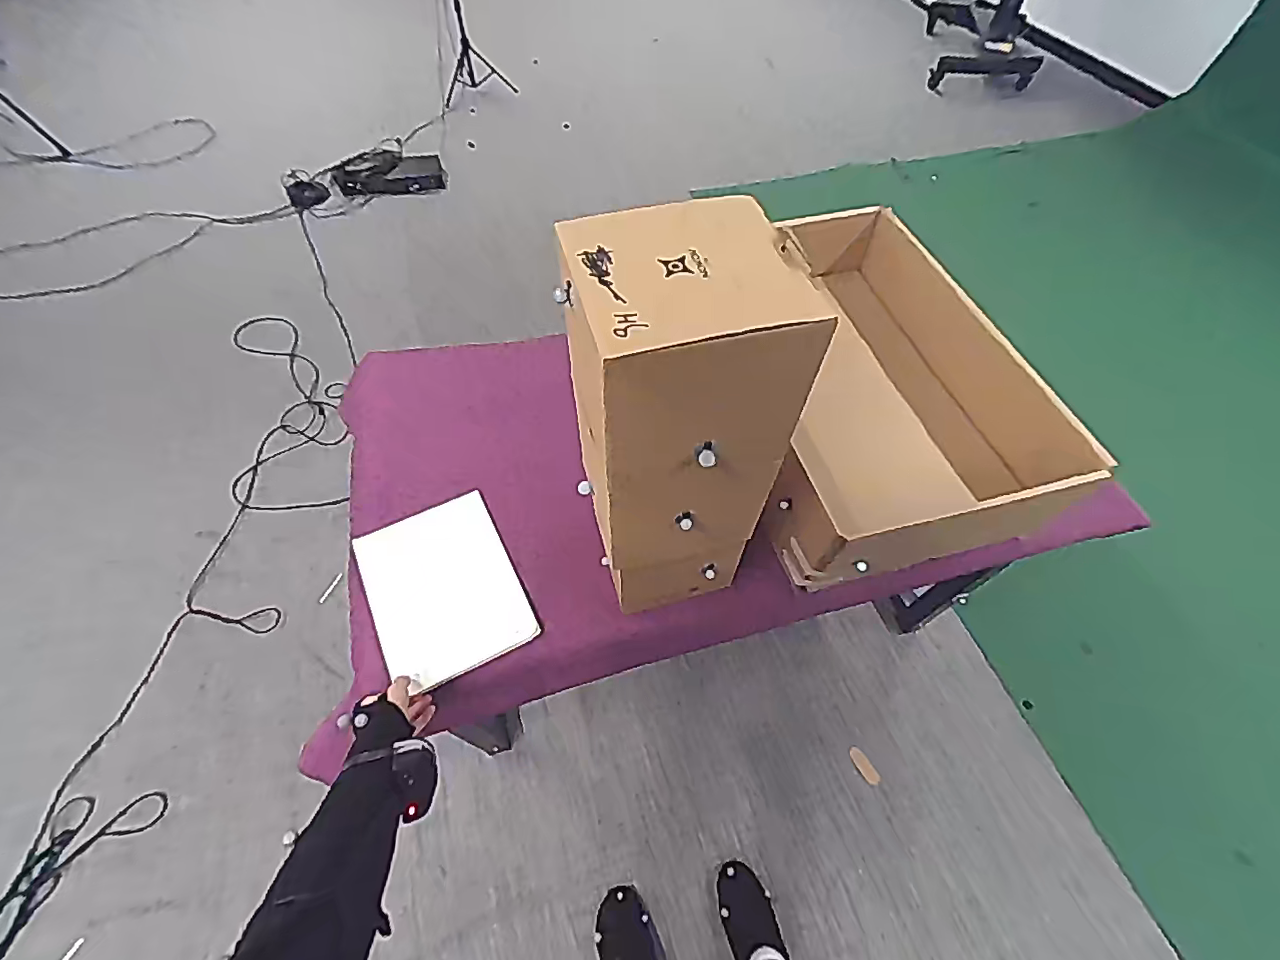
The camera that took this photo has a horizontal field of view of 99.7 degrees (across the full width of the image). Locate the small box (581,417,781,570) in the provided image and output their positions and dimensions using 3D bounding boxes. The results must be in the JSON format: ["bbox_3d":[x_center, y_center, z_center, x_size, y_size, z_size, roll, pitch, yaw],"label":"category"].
[{"bbox_3d":[0.033,-0.018,0.614,0.179,0.176,0.168,-12,56,-8],"label":"small box"}]

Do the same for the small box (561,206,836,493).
[{"bbox_3d":[0.034,-0.111,0.478,0.179,0.176,0.168,-12,56,-10],"label":"small box"}]
